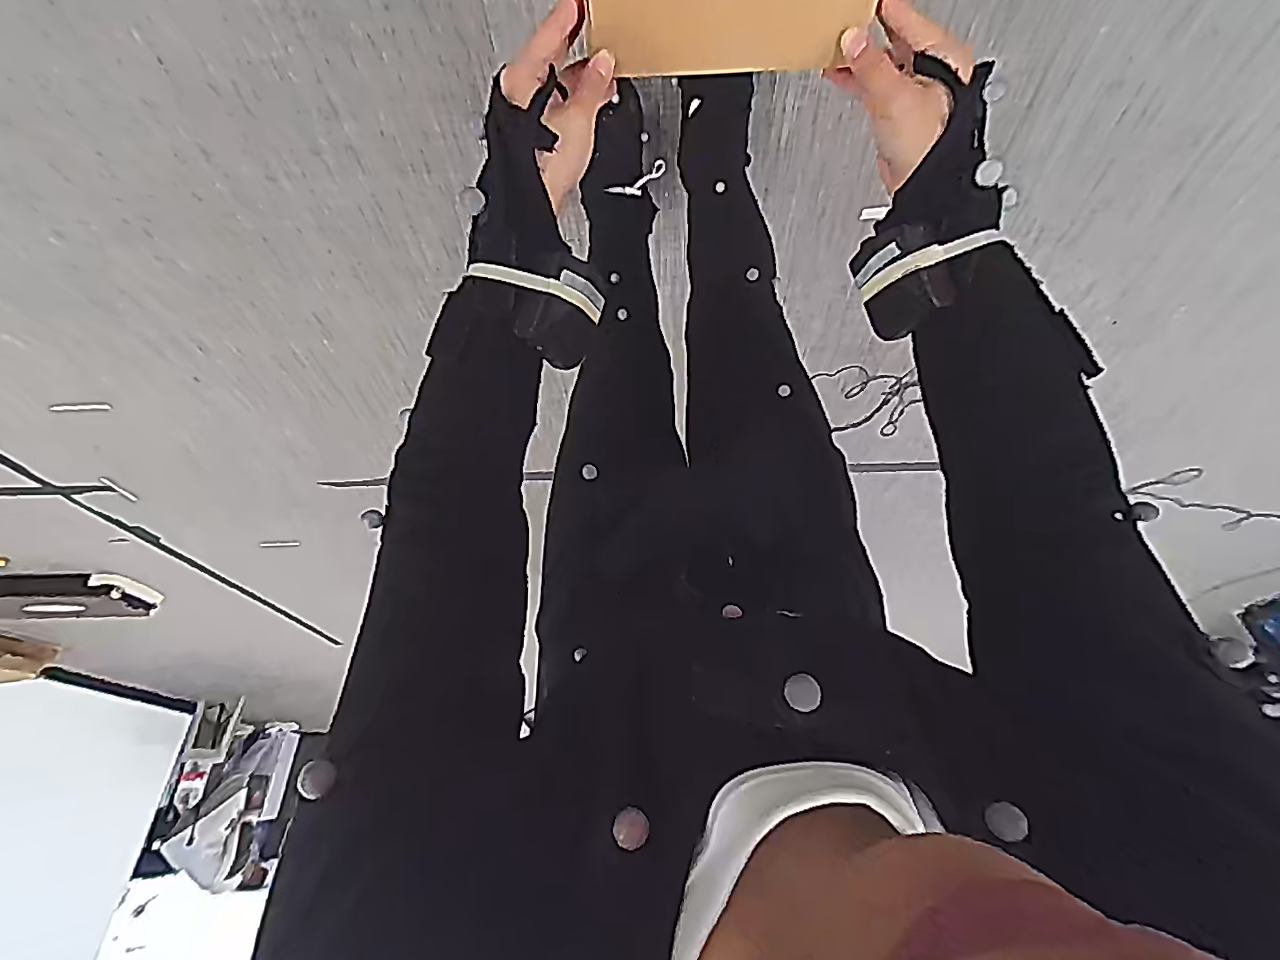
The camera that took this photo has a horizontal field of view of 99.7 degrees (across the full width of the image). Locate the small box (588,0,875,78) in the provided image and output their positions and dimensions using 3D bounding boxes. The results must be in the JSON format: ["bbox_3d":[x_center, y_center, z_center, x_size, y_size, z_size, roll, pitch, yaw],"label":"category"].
[{"bbox_3d":[0.052,-0.375,0.316,0.179,0.176,0.168,-2,155,0],"label":"small box"}]
